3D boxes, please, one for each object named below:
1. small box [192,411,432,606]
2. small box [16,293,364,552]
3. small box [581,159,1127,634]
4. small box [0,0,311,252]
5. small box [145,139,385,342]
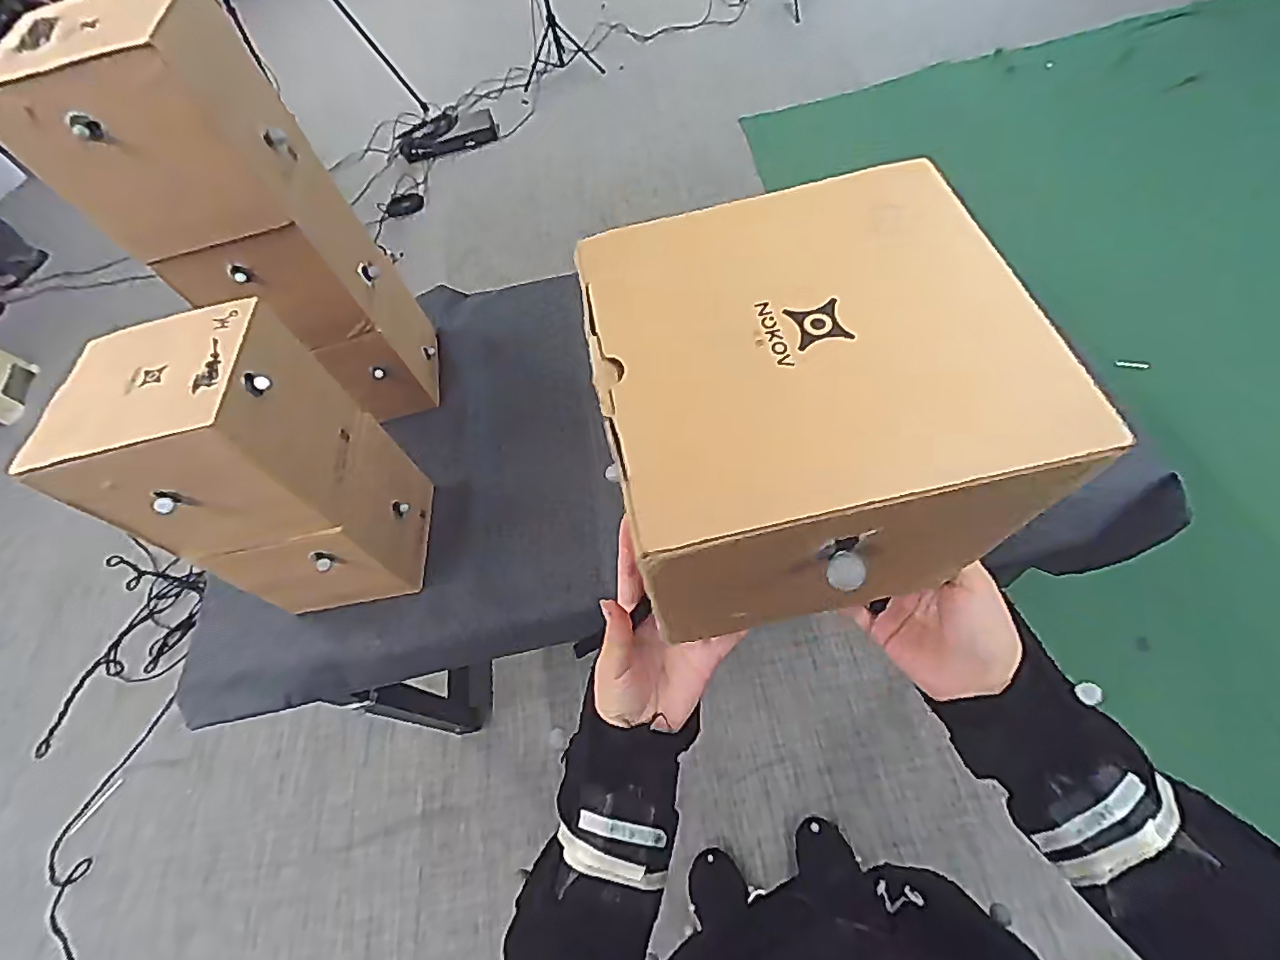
[{"bbox_3d":[-0.381,0.042,0.669,0.179,0.176,0.168,-11,56,5],"label":"small box"},{"bbox_3d":[-0.412,-0.047,0.535,0.179,0.176,0.168,-14,57,3],"label":"small box"},{"bbox_3d":[0.079,-0.028,0.293,0.179,0.176,0.168,-14,63,1],"label":"small box"},{"bbox_3d":[-0.476,-0.360,0.543,0.179,0.176,0.168,-13,61,2],"label":"small box"},{"bbox_3d":[-0.455,-0.287,0.689,0.179,0.176,0.168,-15,61,0],"label":"small box"}]
